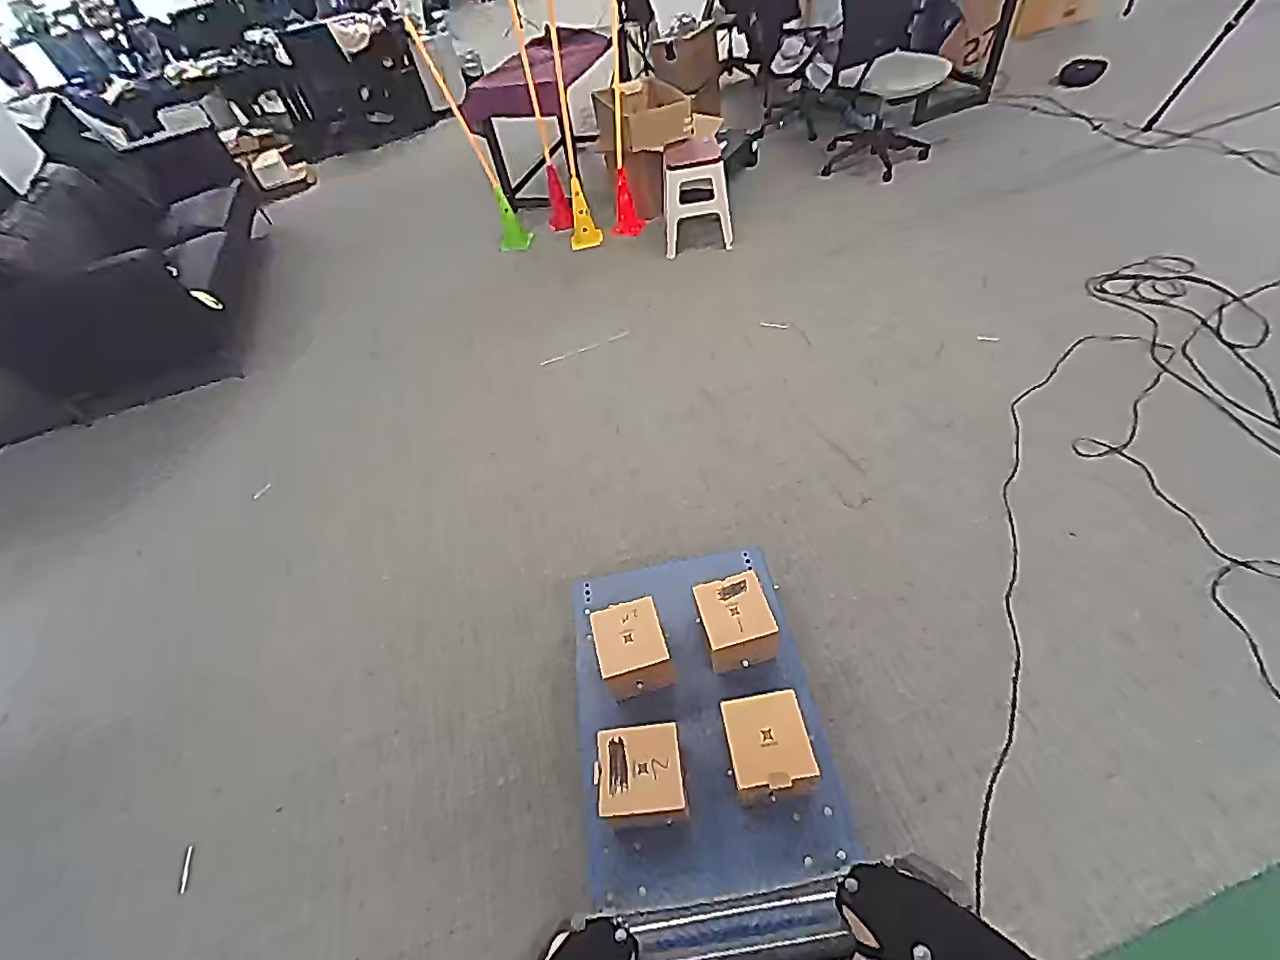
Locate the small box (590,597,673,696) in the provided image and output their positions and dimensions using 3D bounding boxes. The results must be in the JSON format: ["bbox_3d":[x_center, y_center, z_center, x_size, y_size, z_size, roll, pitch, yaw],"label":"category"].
[{"bbox_3d":[-0.020,0.429,1.373,0.168,0.176,0.179,-15,49,-4],"label":"small box"}]

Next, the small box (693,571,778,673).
[{"bbox_3d":[0.239,0.365,1.381,0.168,0.176,0.179,-15,51,-2],"label":"small box"}]

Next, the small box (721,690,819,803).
[{"bbox_3d":[0.276,0.588,1.191,0.168,0.176,0.179,-11,50,1],"label":"small box"}]
